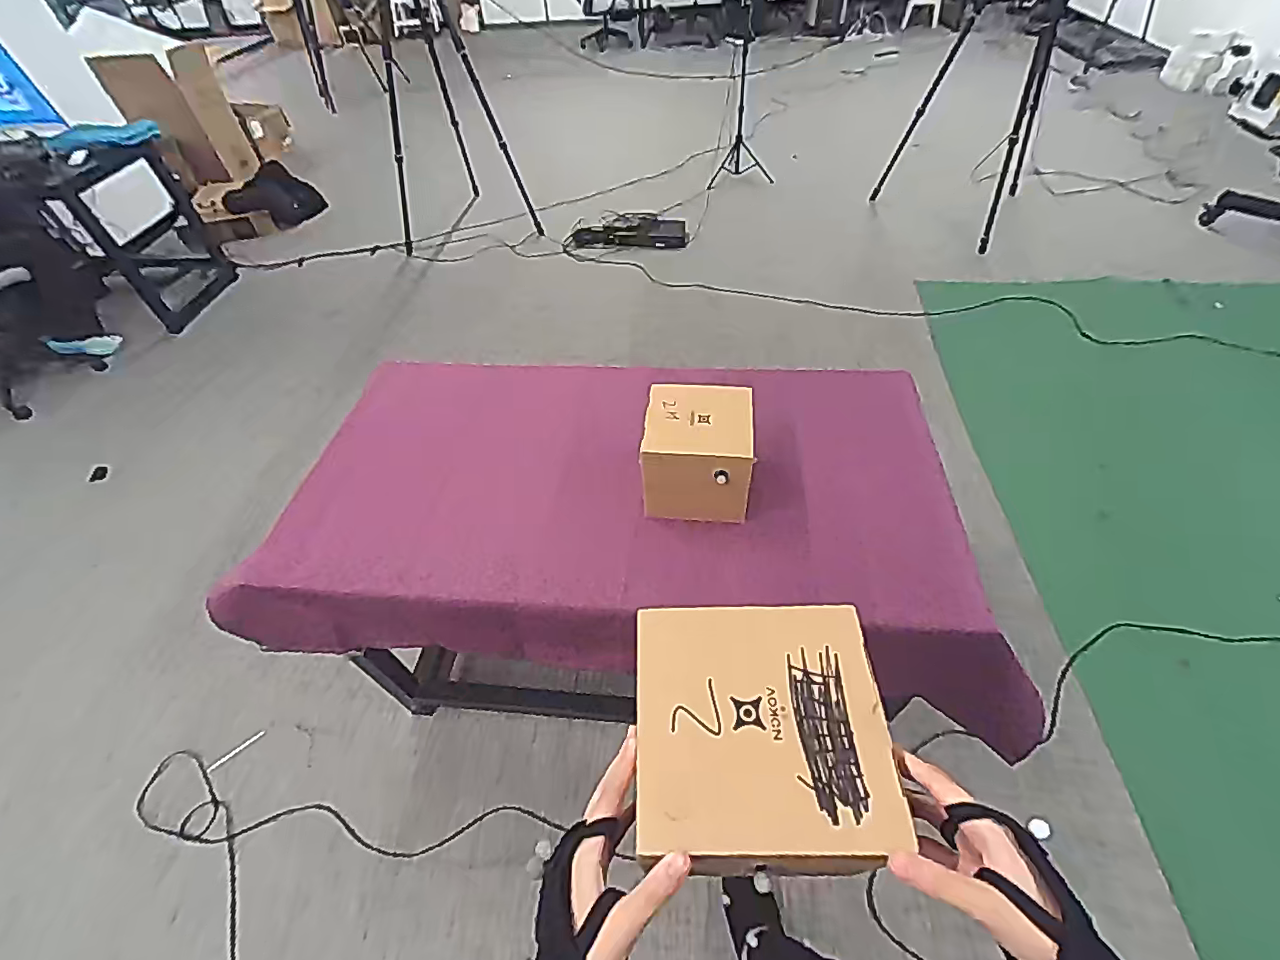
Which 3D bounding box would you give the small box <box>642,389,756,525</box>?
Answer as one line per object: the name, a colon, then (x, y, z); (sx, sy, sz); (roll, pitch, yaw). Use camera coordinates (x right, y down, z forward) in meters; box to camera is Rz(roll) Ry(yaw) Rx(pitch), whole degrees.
small box: (0.103, -0.036, 0.931); (0.179, 0.176, 0.168); (3, 49, 8)
